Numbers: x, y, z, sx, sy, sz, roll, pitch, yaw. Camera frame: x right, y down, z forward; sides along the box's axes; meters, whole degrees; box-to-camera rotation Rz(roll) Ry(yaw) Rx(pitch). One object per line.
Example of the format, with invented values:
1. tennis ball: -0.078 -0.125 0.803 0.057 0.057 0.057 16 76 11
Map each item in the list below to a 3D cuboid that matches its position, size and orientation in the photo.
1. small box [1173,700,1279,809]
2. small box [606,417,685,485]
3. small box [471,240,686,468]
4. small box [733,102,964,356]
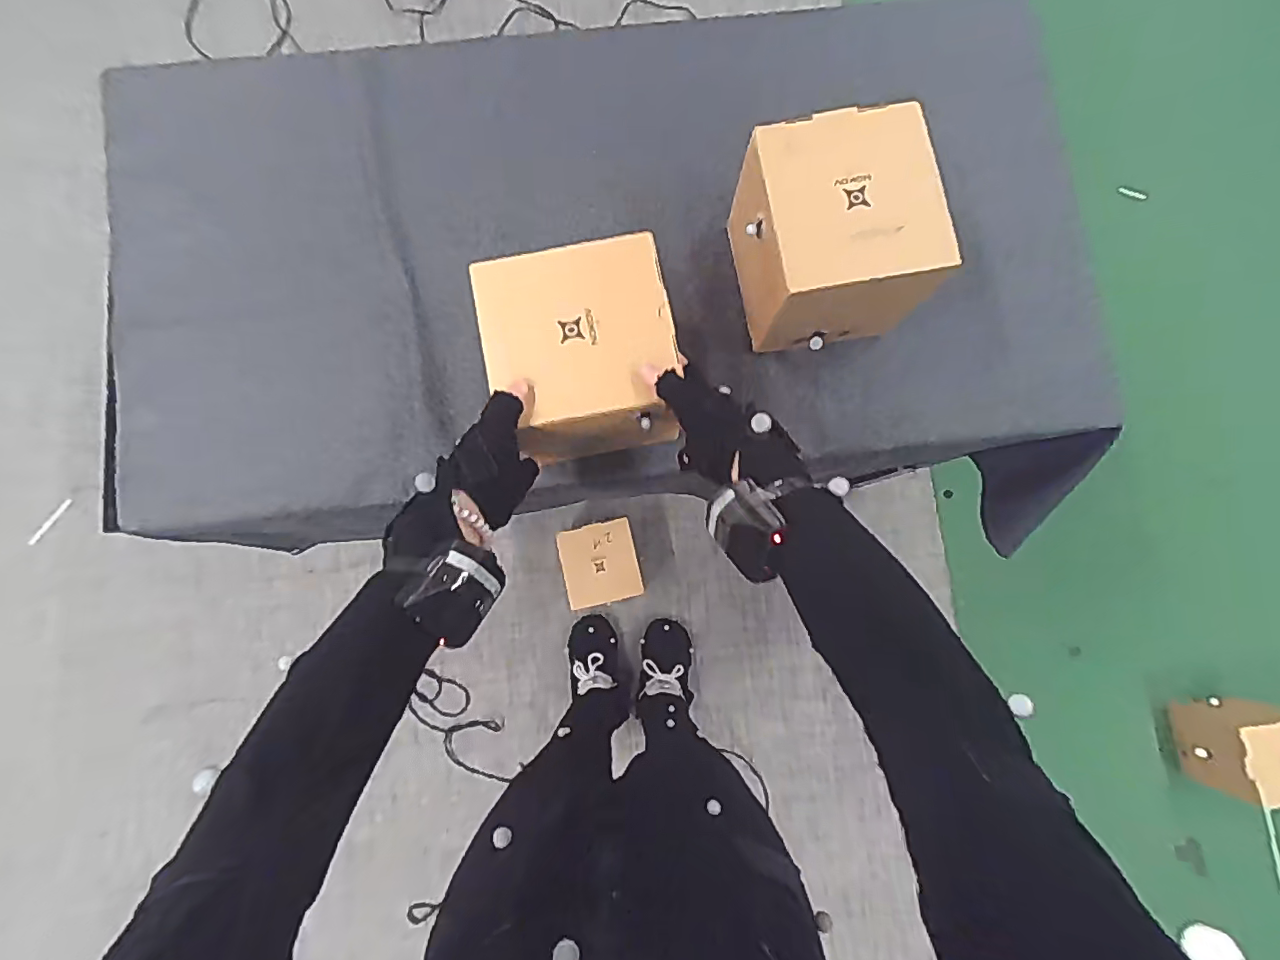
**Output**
1. small box: 1.358 0.606 1.211 0.179 0.176 0.168 -7 83 0
2. small box: 0.006 -0.086 1.291 0.179 0.176 0.168 -8 83 0
3. small box: -0.056 -0.116 0.563 0.179 0.176 0.168 -11 82 -2
4. small box: 0.204 -0.254 0.582 0.168 0.176 0.179 -9 83 0
